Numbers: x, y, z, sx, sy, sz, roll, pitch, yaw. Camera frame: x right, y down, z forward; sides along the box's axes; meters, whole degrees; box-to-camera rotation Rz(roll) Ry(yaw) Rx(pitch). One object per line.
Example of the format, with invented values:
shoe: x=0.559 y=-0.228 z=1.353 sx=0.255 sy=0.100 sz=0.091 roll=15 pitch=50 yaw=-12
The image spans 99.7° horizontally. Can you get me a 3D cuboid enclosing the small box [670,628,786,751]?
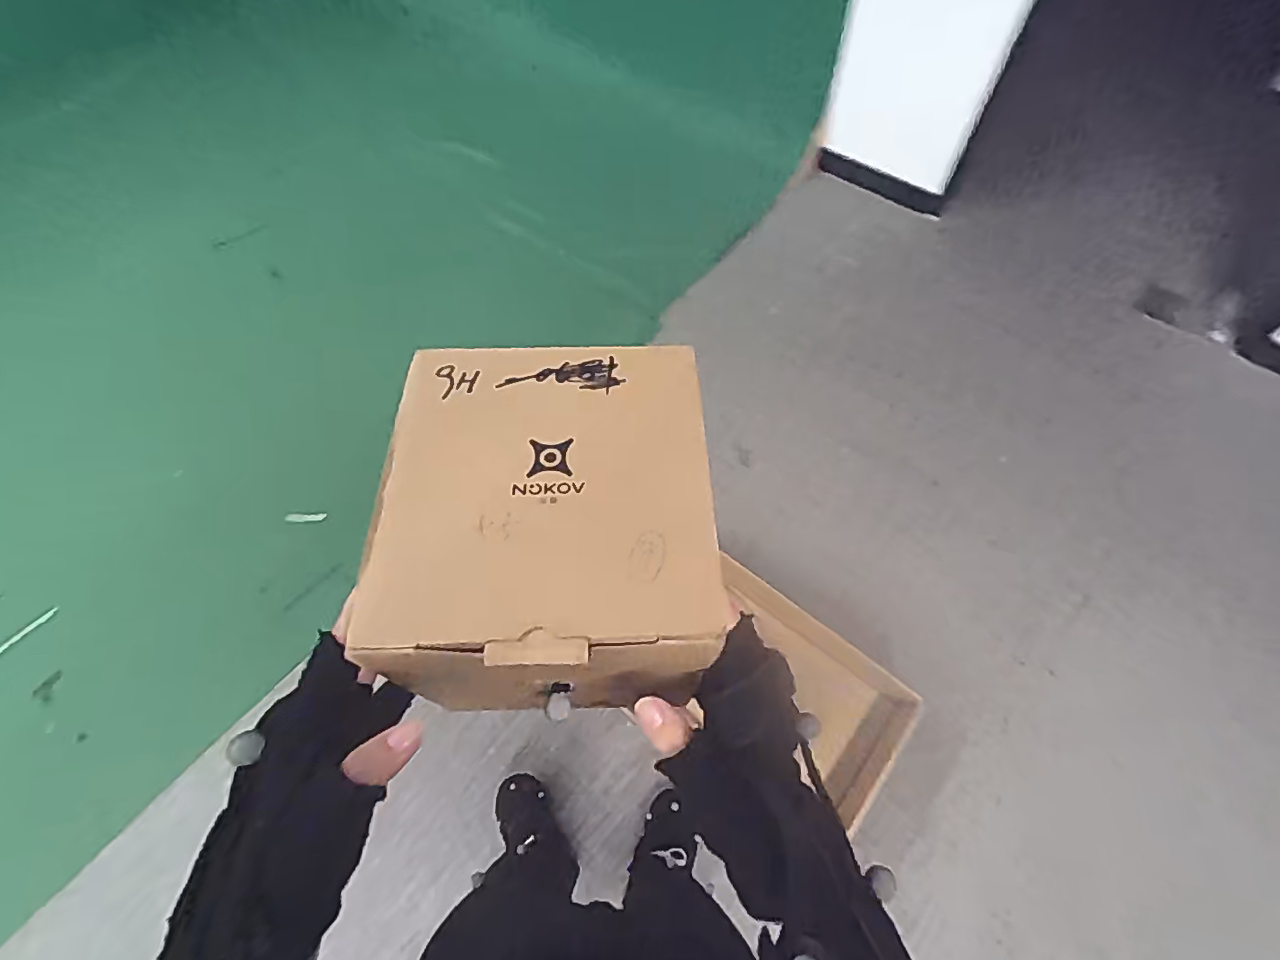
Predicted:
small box: x=0.181 y=0.446 z=1.157 sx=0.179 sy=0.176 sz=0.168 roll=36 pitch=72 yaw=18
